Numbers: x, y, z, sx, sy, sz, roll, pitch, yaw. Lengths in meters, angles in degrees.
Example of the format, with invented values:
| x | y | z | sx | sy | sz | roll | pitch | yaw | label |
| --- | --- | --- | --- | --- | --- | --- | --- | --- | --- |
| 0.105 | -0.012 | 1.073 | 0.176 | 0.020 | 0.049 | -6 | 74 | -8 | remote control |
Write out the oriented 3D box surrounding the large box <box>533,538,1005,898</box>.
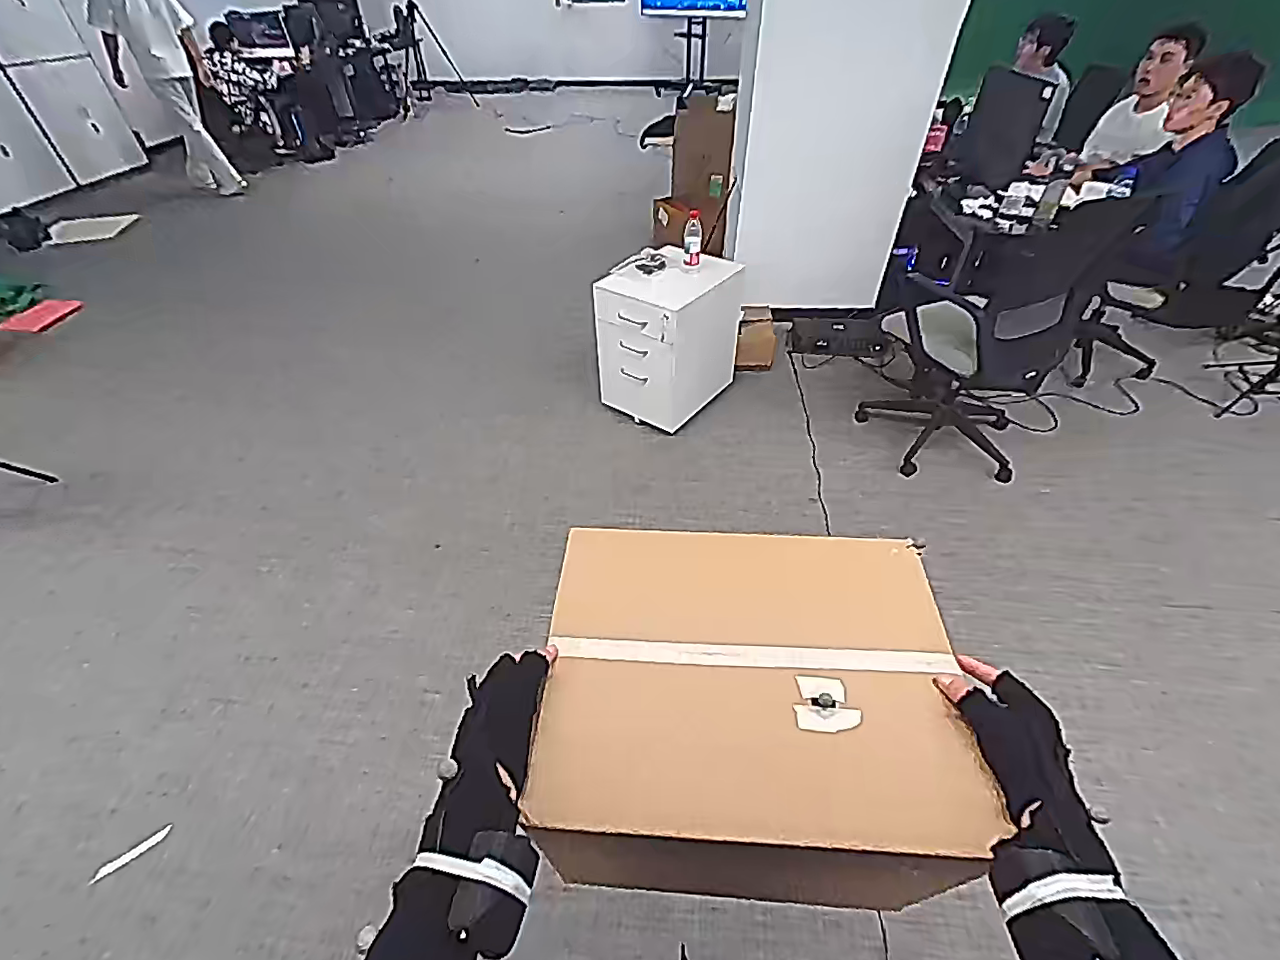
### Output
| x | y | z | sx | sy | sz | roll | pitch | yaw | label |
| --- | --- | --- | --- | --- | --- | --- | --- | --- | --- |
| 0.114 | 0.289 | 0.660 | 0.408 | 0.320 | 0.320 | 2 | 47 | 4 | large box |
